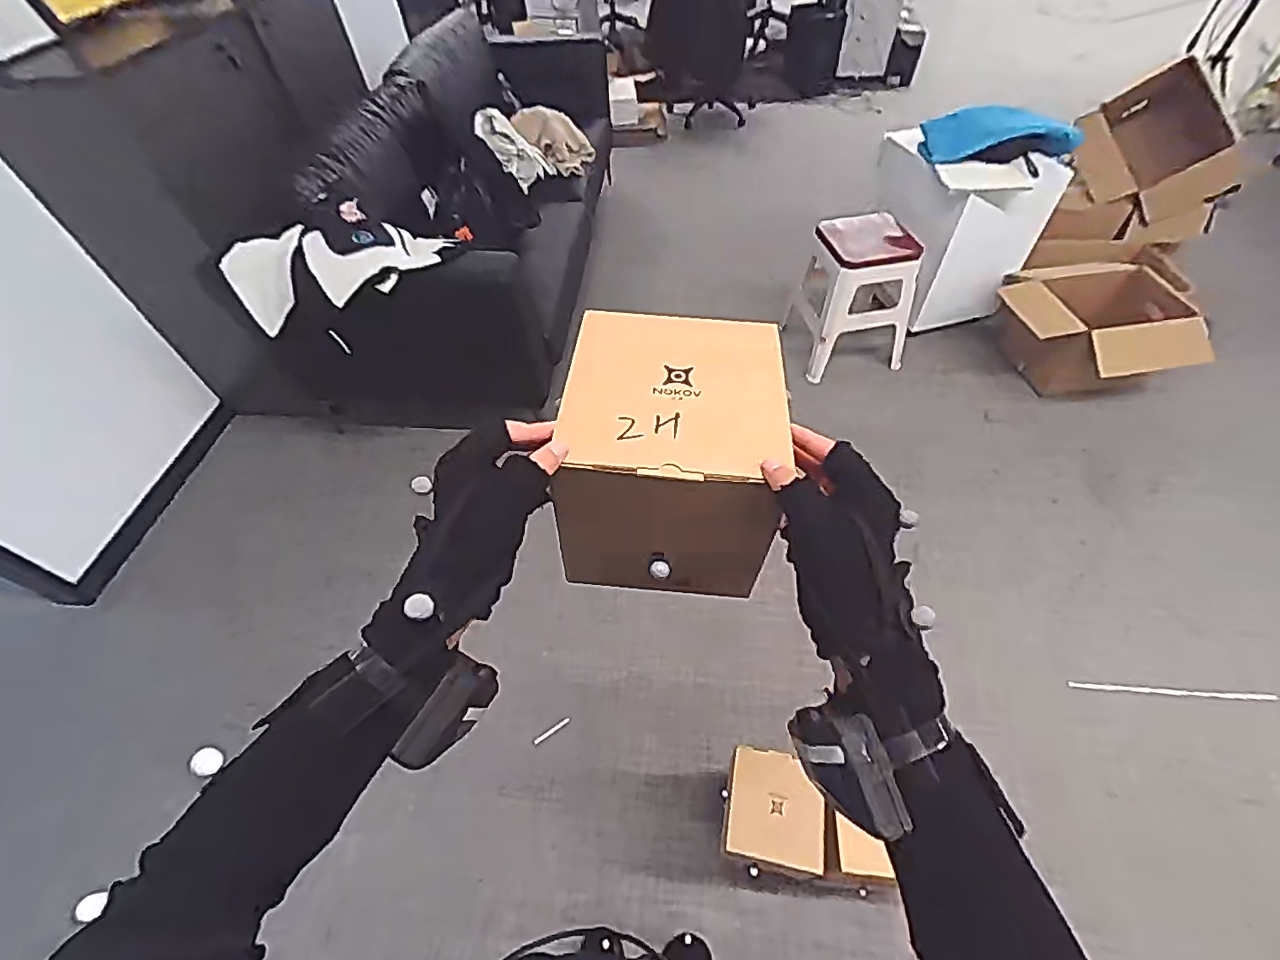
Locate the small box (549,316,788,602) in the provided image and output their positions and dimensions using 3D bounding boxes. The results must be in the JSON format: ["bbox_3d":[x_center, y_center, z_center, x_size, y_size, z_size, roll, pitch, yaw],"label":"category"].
[{"bbox_3d":[0.024,-0.017,0.475,0.168,0.176,0.179,5,51,3],"label":"small box"}]
